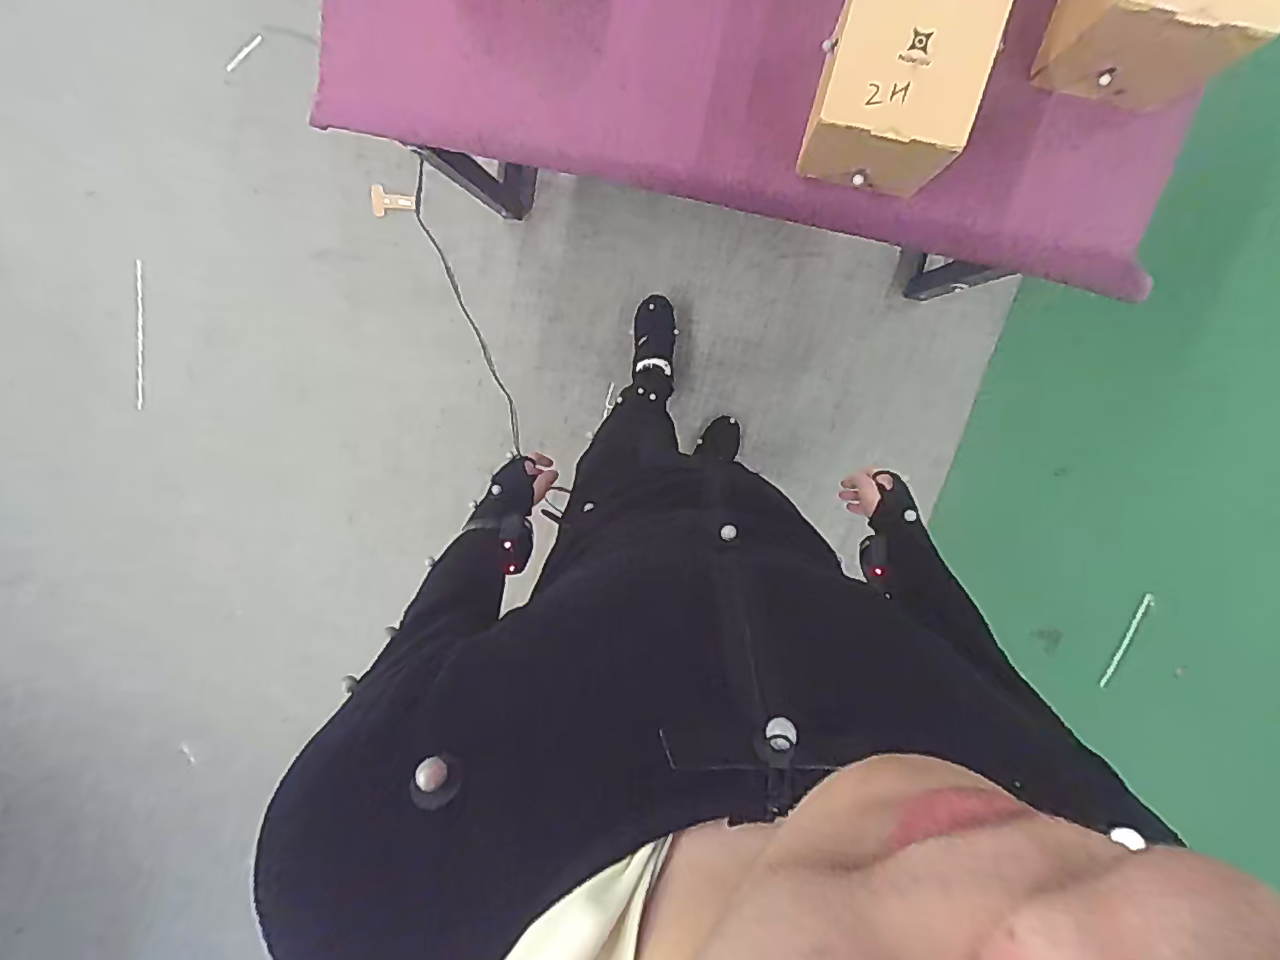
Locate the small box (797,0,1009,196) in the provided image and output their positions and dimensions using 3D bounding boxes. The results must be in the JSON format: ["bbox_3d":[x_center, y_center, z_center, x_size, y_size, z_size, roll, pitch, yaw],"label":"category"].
[{"bbox_3d":[0.307,-0.485,0.670,0.168,0.176,0.179,15,102,4],"label":"small box"}]

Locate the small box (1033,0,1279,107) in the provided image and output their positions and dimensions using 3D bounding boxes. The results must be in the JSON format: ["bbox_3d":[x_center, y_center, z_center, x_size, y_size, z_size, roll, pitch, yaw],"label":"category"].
[{"bbox_3d":[0.603,-0.575,0.619,0.168,0.176,0.179,15,104,4],"label":"small box"}]
